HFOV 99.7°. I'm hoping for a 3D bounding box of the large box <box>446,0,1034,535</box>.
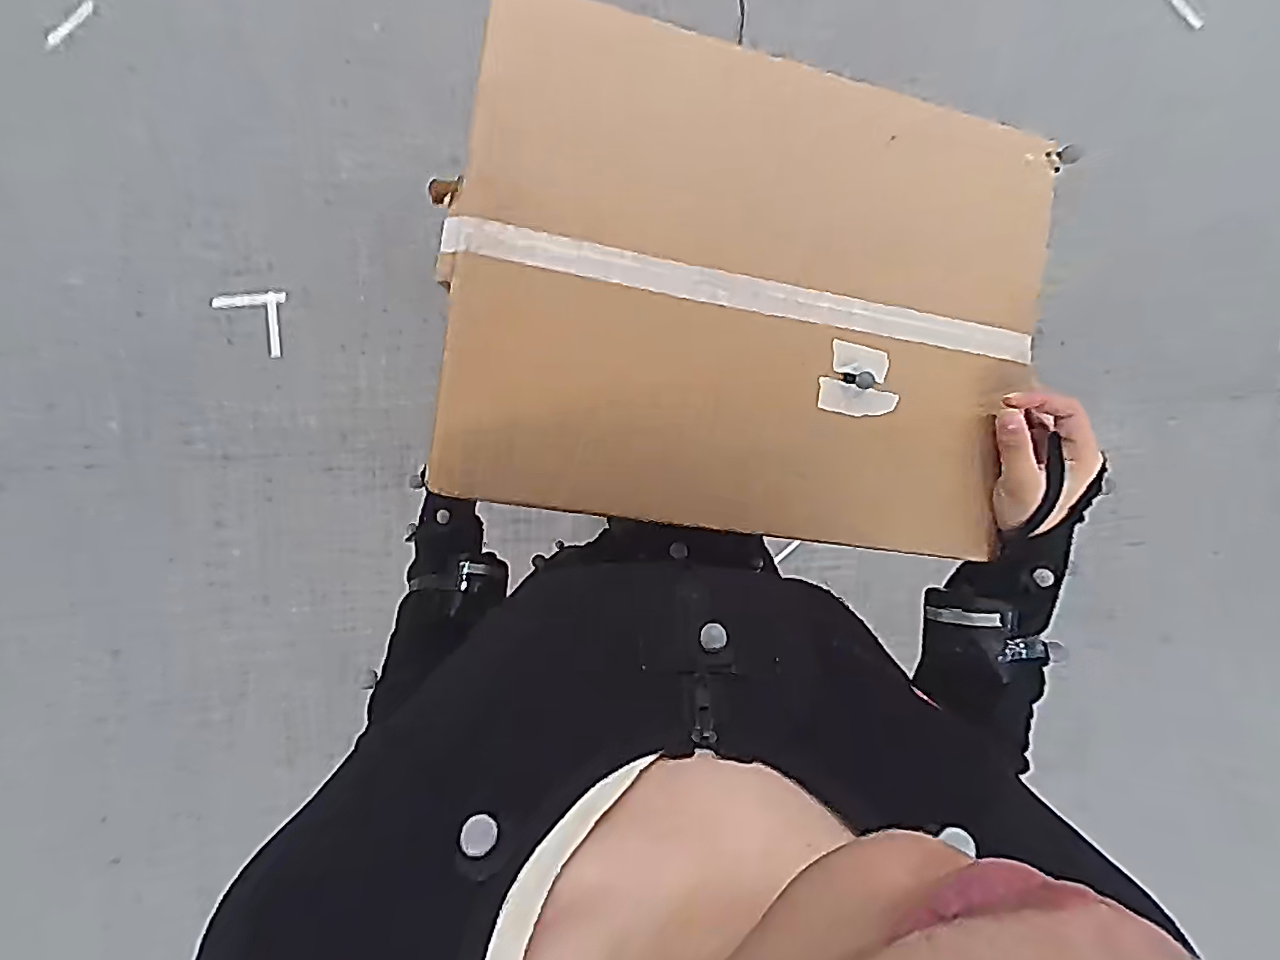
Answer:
[{"bbox_3d":[0.057,-0.135,0.514,0.408,0.320,0.320,7,91,-12],"label":"large box"}]
